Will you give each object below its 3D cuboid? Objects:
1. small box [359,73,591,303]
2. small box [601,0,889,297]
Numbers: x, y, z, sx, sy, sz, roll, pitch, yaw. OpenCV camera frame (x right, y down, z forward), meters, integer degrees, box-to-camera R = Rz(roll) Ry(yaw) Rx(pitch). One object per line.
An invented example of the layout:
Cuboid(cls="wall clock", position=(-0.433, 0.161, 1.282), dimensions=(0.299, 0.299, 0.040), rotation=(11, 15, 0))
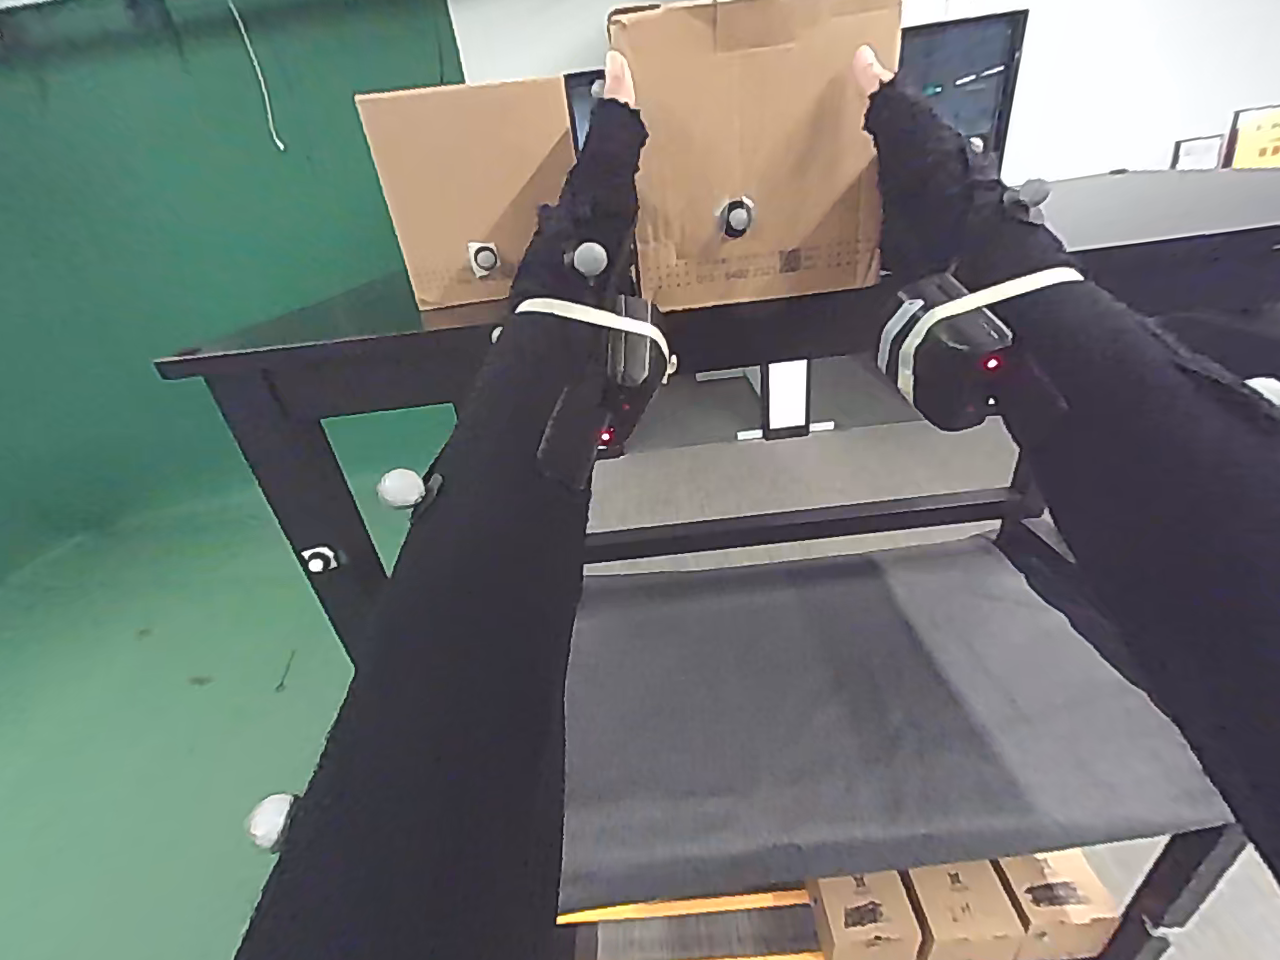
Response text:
Cuboid(cls="small box", position=(-0.151, -0.284, 0.546), dimensions=(0.168, 0.176, 0.179), rotation=(-13, 29, -8))
Cuboid(cls="small box", position=(0.066, -0.242, 0.412), dimensions=(0.168, 0.176, 0.179), rotation=(-7, 28, 2))
